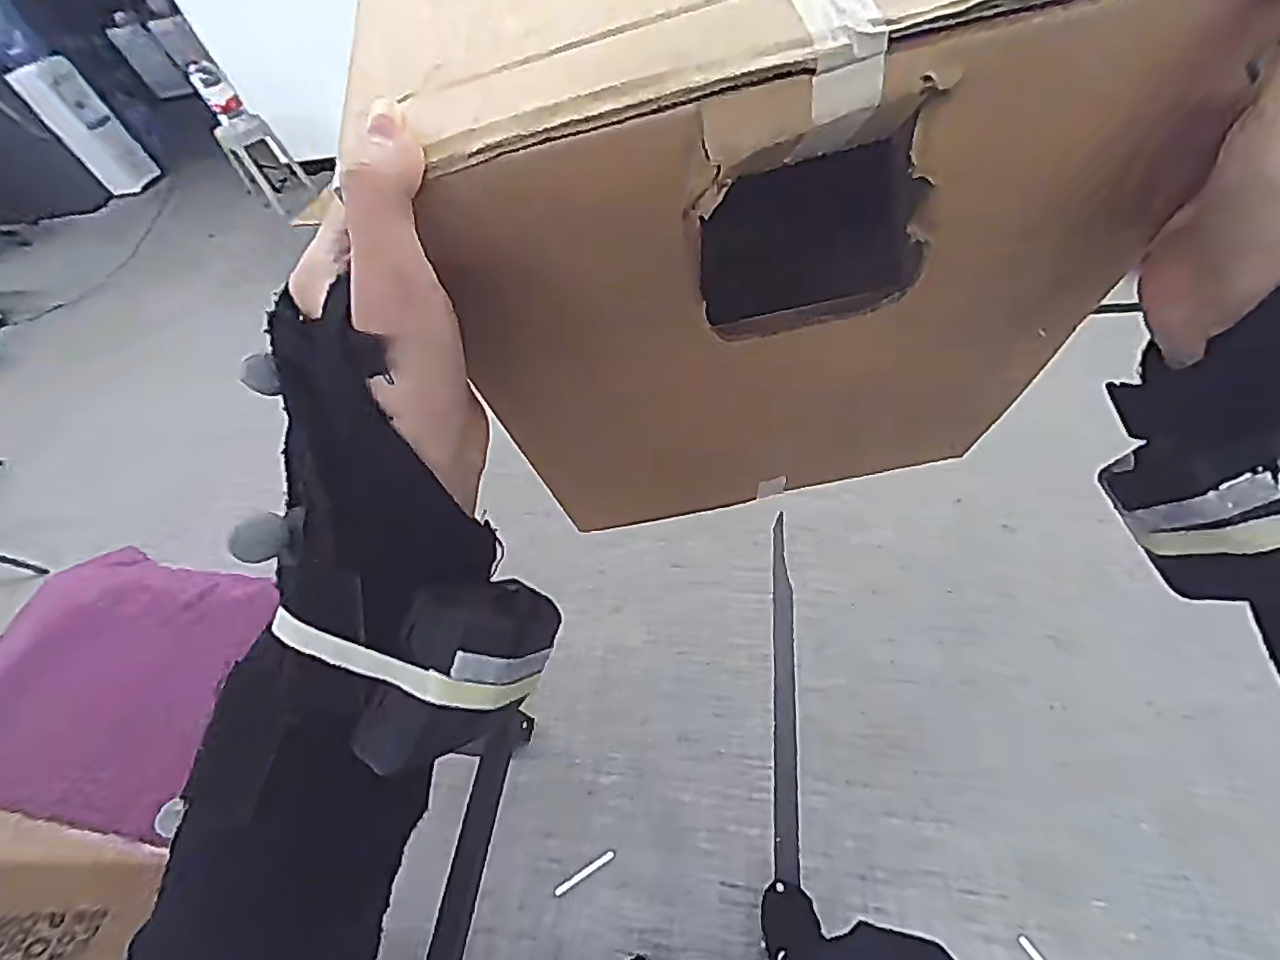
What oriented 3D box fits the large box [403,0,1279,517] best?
[{"bbox_3d":[0.057,-0.234,0.384,0.320,0.320,0.408,-13,64,4],"label":"large box"}]
